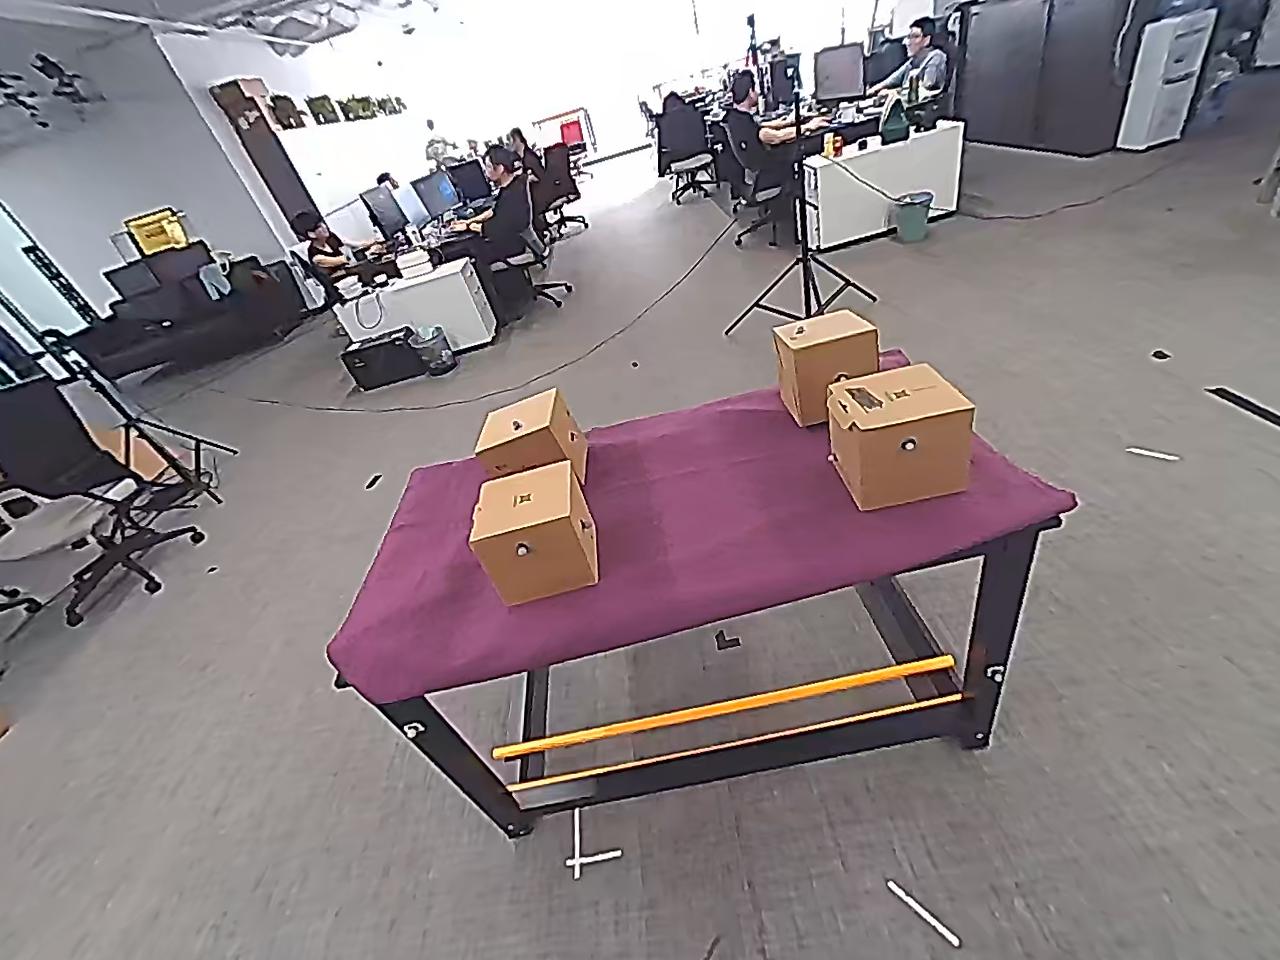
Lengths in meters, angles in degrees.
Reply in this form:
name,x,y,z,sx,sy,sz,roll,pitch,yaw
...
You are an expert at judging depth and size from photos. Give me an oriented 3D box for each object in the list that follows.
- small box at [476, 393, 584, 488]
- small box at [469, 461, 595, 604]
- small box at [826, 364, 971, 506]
name,x,y,z,sx,sy,sz,roll,pitch,yaw
small box,-0.232,-0.069,1.194,0.179,0.168,0.176,-18,34,12
small box,-0.183,0.096,0.978,0.179,0.176,0.168,-15,36,4
small box,0.439,-0.074,0.937,0.179,0.176,0.168,-12,35,7
